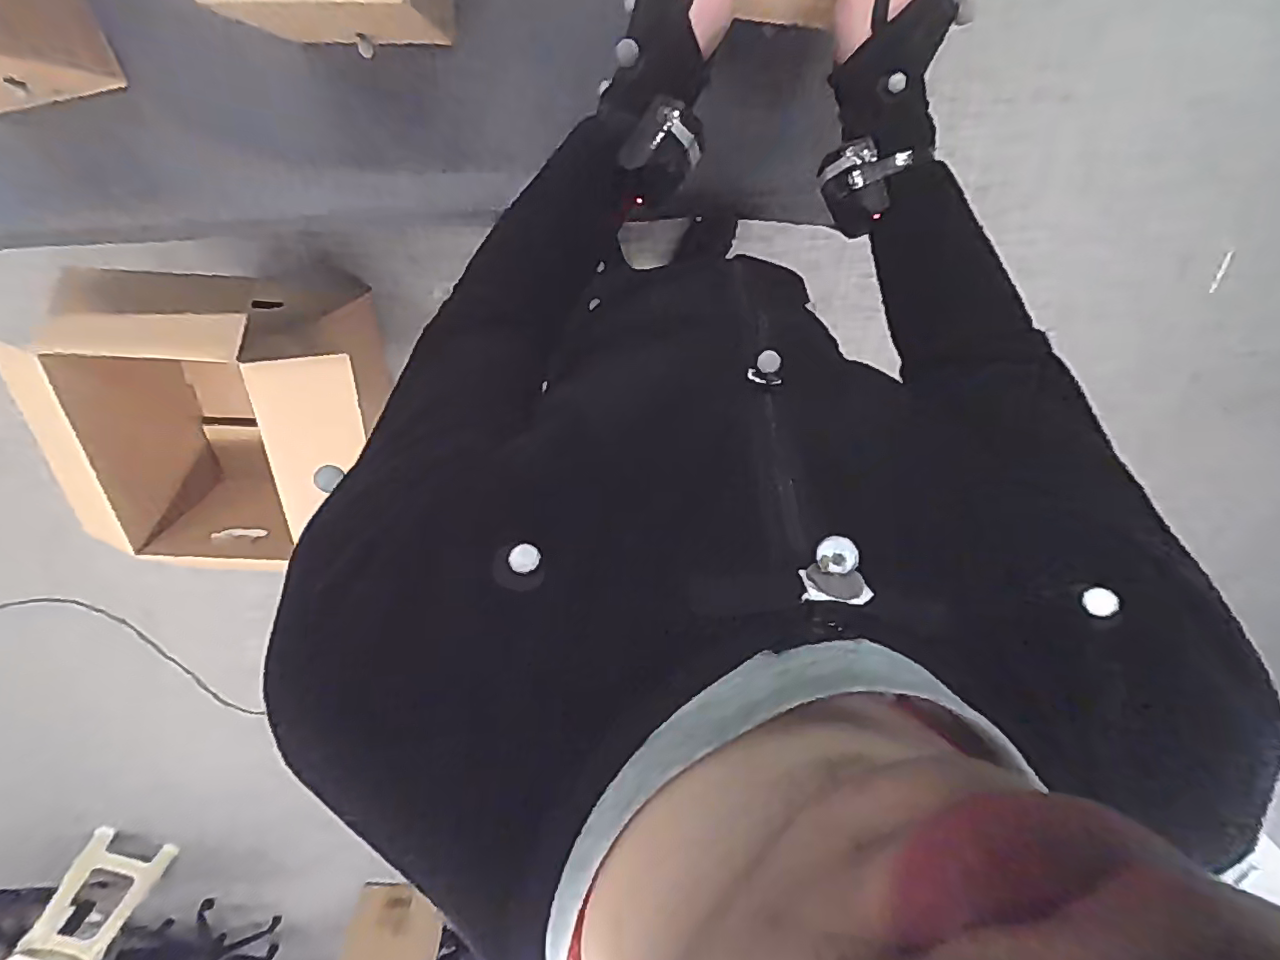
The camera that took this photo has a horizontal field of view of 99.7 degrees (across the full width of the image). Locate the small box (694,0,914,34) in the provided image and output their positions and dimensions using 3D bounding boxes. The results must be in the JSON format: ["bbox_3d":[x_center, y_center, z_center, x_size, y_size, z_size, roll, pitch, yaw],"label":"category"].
[{"bbox_3d":[0.137,-0.480,0.429,0.179,0.176,0.168,5,136,-3],"label":"small box"}]

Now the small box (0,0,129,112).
[{"bbox_3d":[-0.644,-0.454,0.492,0.168,0.176,0.179,-11,118,2],"label":"small box"}]

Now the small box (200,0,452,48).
[{"bbox_3d":[-0.277,-0.501,0.475,0.179,0.176,0.168,-1,120,-2],"label":"small box"}]
